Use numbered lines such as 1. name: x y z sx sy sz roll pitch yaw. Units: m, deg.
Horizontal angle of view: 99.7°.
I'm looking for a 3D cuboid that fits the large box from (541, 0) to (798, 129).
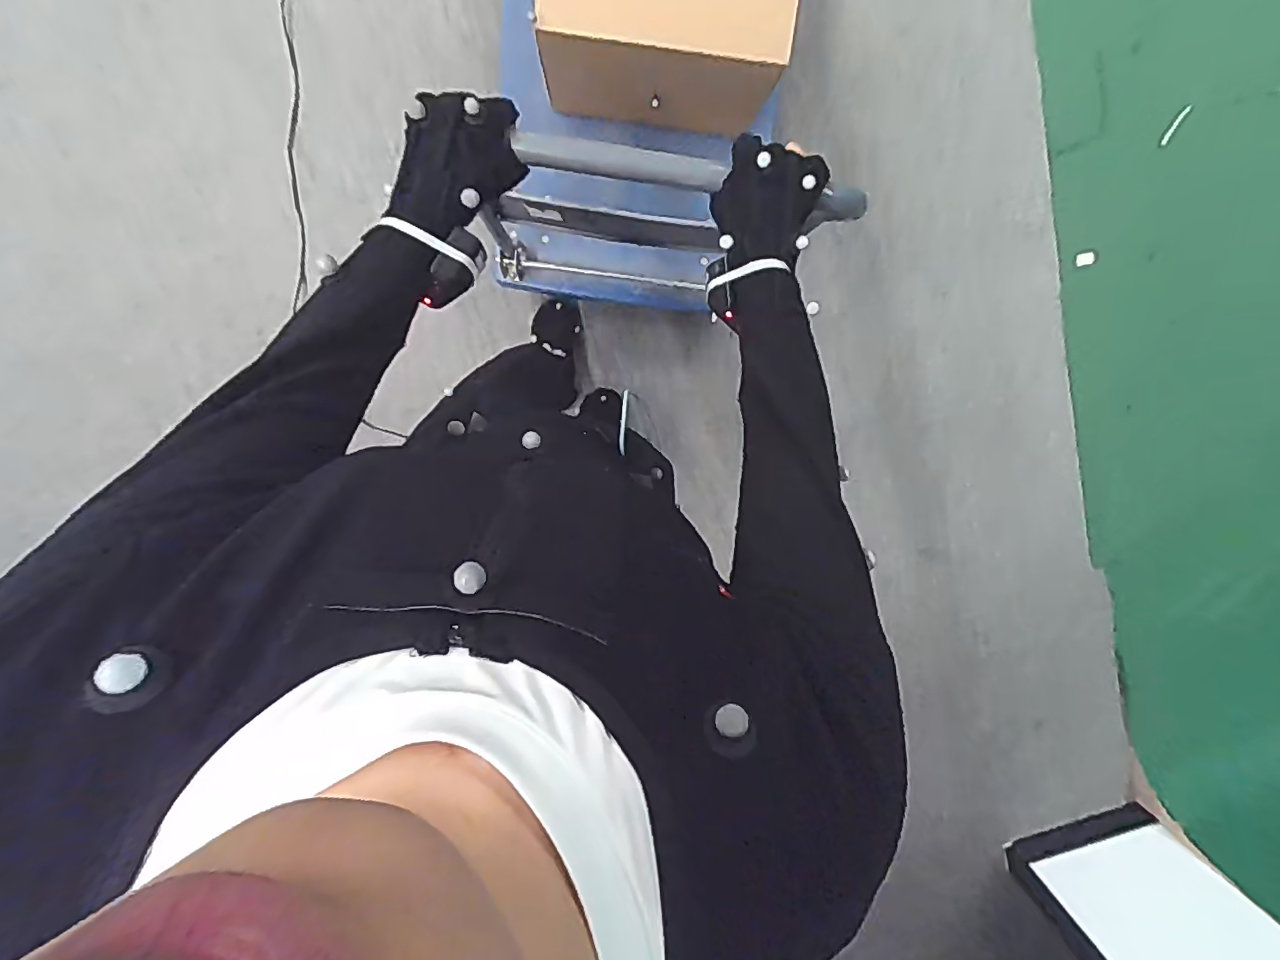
1. large box: 0.051 -0.867 0.962 0.408 0.320 0.320 5 103 -4
